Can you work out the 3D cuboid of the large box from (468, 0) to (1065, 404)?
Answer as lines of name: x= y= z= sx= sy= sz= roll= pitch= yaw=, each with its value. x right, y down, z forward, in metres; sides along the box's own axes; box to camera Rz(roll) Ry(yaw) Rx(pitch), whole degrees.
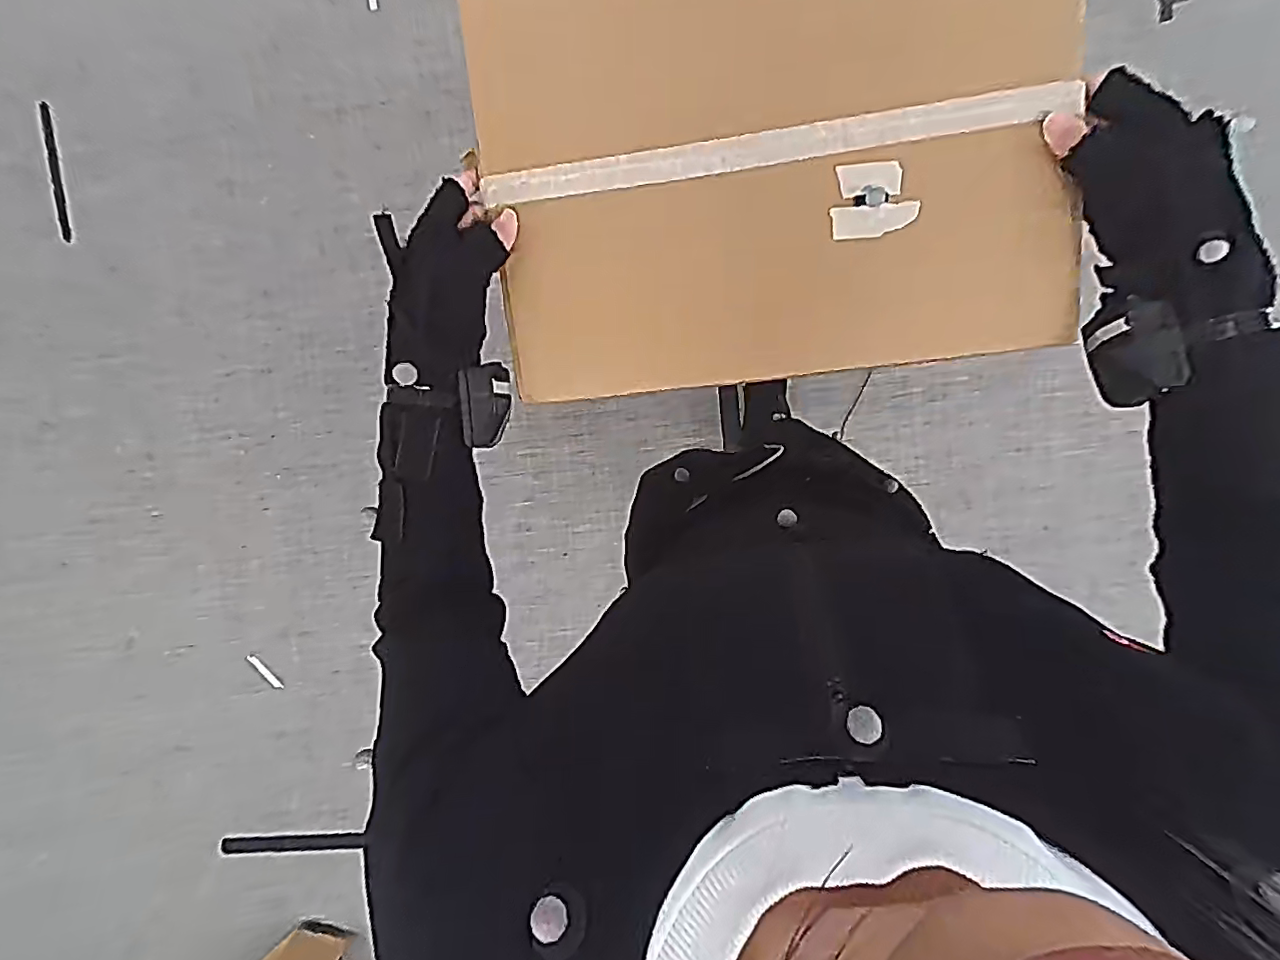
large box: x=0.101 y=-0.261 z=0.534 sx=0.408 sy=0.320 sz=0.320 roll=-6 pitch=101 yaw=5
